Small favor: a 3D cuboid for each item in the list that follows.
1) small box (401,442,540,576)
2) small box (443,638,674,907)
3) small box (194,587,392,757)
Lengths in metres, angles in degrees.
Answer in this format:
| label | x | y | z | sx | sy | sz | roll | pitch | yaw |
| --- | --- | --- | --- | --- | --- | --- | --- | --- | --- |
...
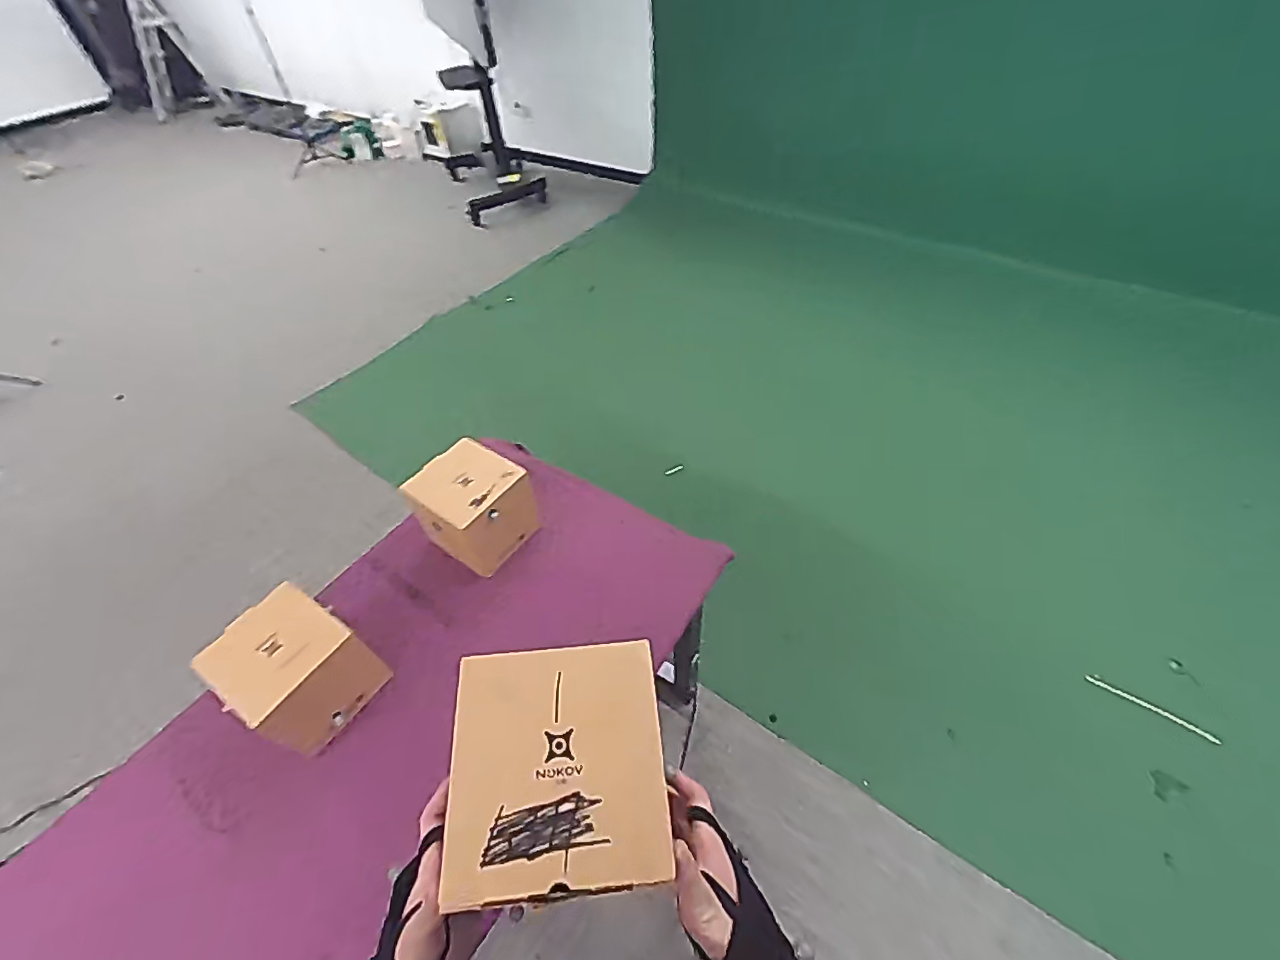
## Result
| label | x | y | z | sx | sy | sz | roll | pitch | yaw |
| --- | --- | --- | --- | --- | --- | --- | --- | --- | --- |
| small box | -0.326 | 0.060 | 1.069 | 0.179 | 0.176 | 0.168 | 26 | 56 | 25 |
| small box | -0.061 | 0.261 | 0.485 | 0.168 | 0.176 | 0.179 | -4 | 53 | -4 |
| small box | -0.544 | 0.311 | 0.868 | 0.179 | 0.176 | 0.168 | 25 | 56 | 23 |
